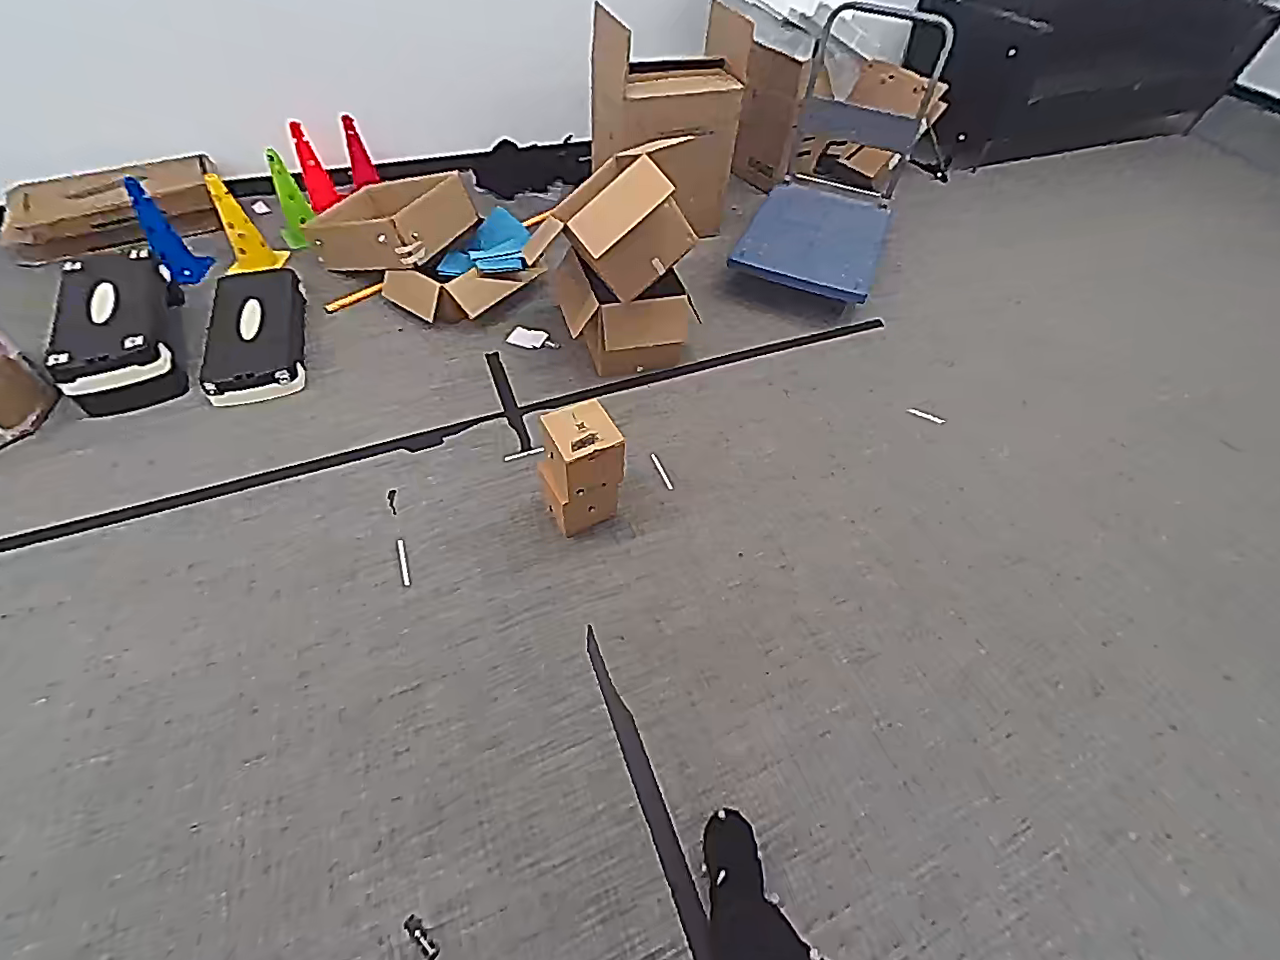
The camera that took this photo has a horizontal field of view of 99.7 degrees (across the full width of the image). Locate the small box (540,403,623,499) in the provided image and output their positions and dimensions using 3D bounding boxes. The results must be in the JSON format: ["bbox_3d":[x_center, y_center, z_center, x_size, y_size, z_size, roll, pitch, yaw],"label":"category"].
[{"bbox_3d":[-0.154,-0.069,1.445,0.168,0.176,0.179,-21,55,-20],"label":"small box"}]
